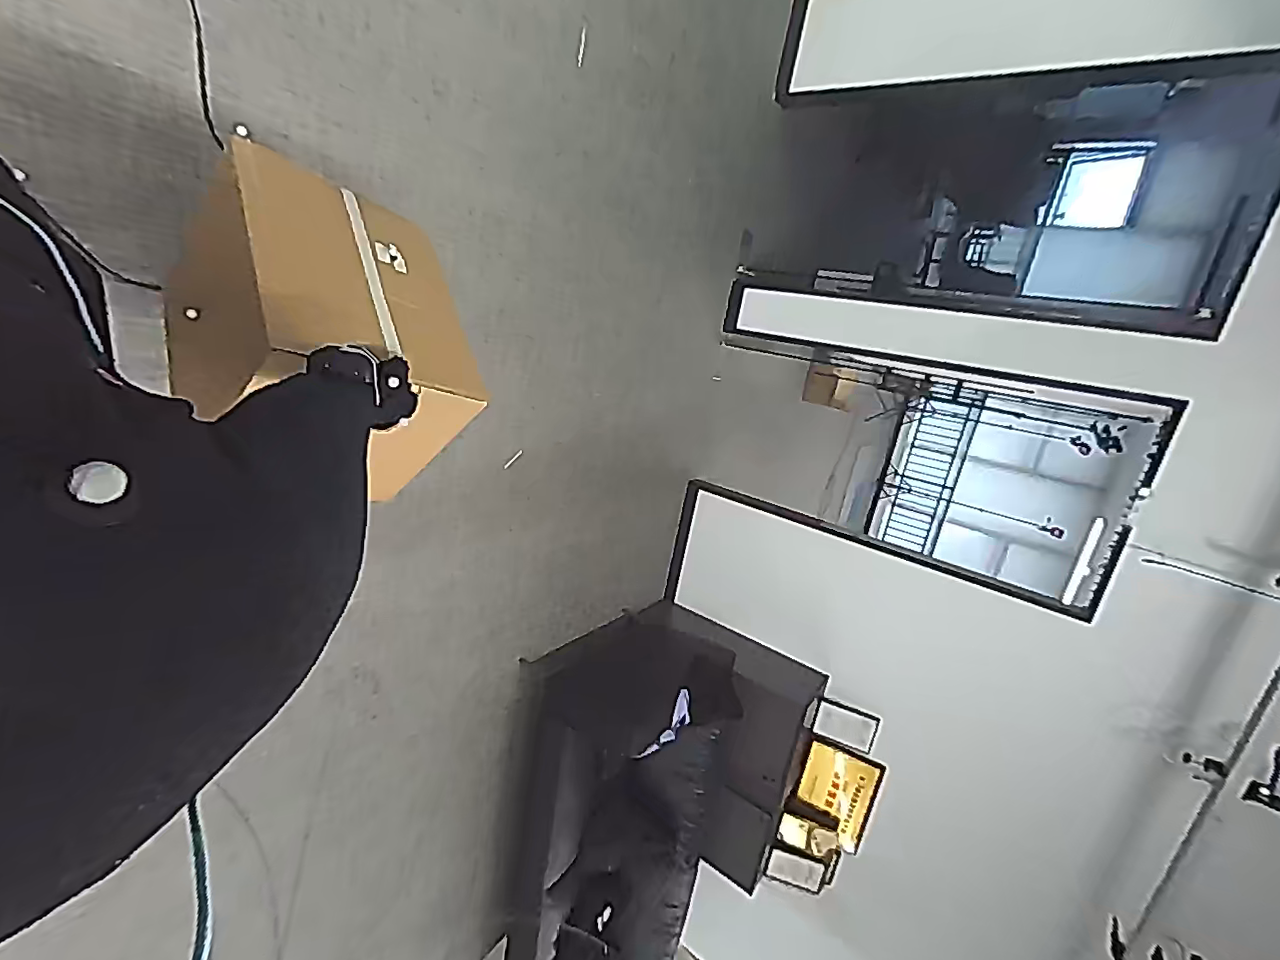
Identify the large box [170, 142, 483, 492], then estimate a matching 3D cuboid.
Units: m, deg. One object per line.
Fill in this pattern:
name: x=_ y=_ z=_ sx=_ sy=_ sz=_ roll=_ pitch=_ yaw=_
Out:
large box: x=-0.524 y=-0.227 z=0.892 sx=0.320 sy=0.408 sz=0.320 roll=-36 pitch=156 yaw=27
